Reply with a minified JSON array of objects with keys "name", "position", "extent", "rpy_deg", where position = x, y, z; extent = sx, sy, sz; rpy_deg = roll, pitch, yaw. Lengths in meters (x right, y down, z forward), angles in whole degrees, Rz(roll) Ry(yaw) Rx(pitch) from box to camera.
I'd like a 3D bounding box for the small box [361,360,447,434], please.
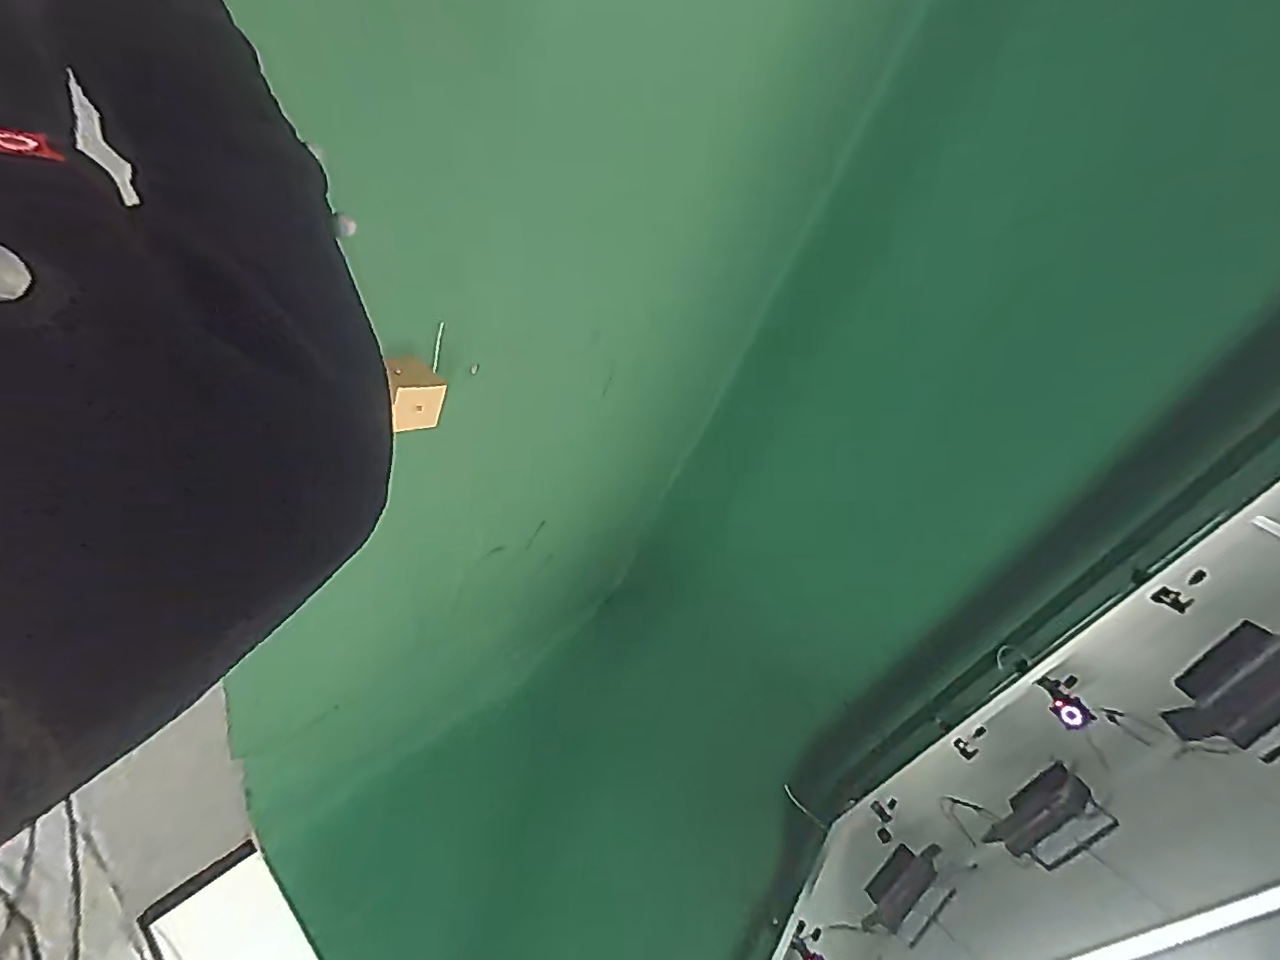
[{"name":"small box","position":[-0.755,-0.267,1.719],"extent":[0.179,0.176,0.168],"rpy_deg":[-18,144,-55]}]
